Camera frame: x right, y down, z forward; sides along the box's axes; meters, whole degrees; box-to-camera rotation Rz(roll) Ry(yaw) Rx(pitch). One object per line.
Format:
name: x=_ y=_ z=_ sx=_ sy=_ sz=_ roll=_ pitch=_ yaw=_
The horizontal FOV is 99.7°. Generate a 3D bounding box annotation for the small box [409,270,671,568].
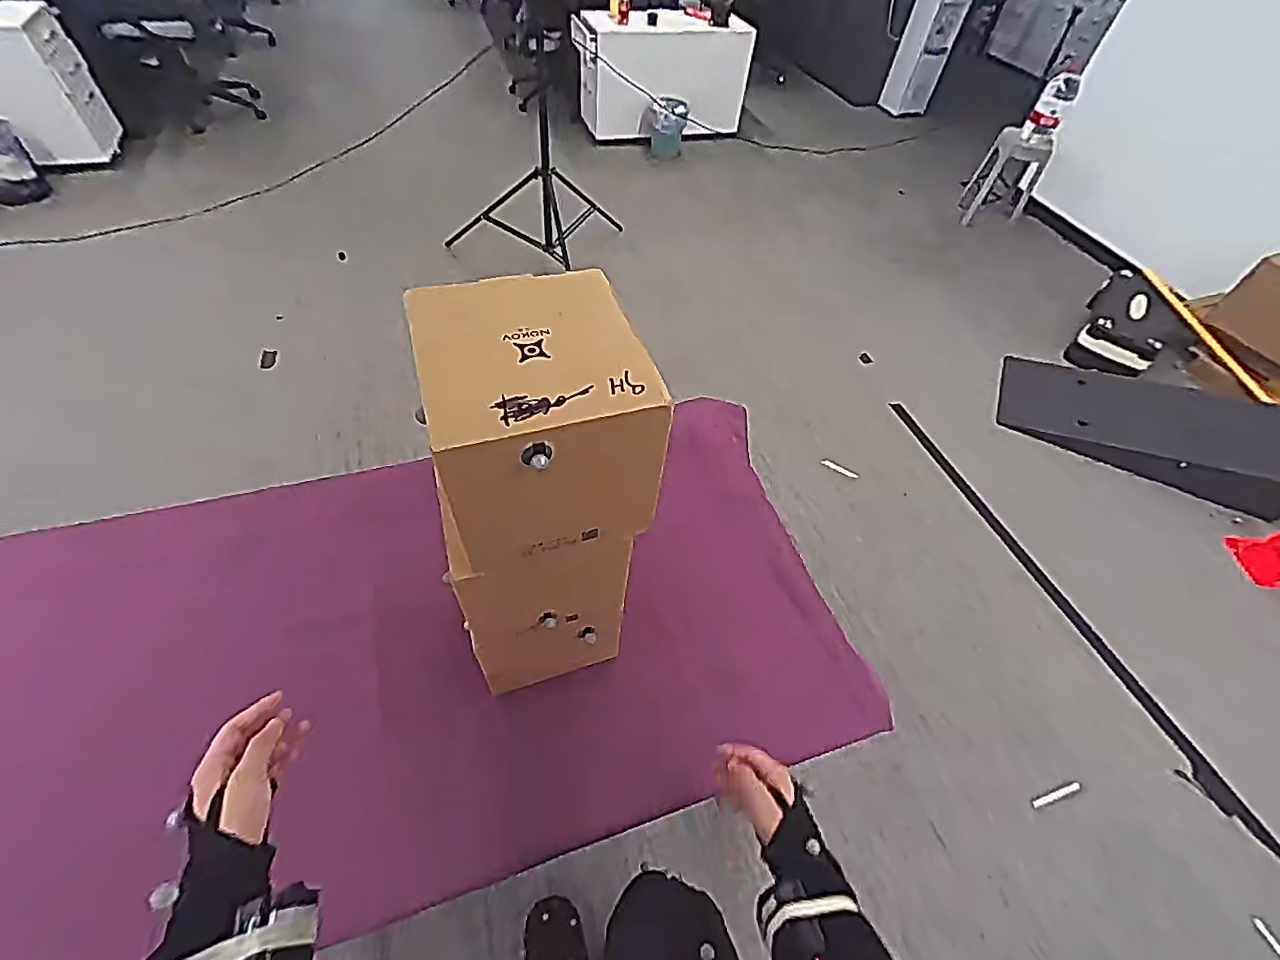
small box: x=-0.088 y=-0.053 z=0.467 sx=0.168 sy=0.176 sz=0.179 roll=-14 pitch=55 yaw=-15

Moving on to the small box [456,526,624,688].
small box: x=-0.131 y=0.152 z=0.721 sx=0.179 sy=0.176 sz=0.168 roll=-14 pitch=54 yaw=-15
